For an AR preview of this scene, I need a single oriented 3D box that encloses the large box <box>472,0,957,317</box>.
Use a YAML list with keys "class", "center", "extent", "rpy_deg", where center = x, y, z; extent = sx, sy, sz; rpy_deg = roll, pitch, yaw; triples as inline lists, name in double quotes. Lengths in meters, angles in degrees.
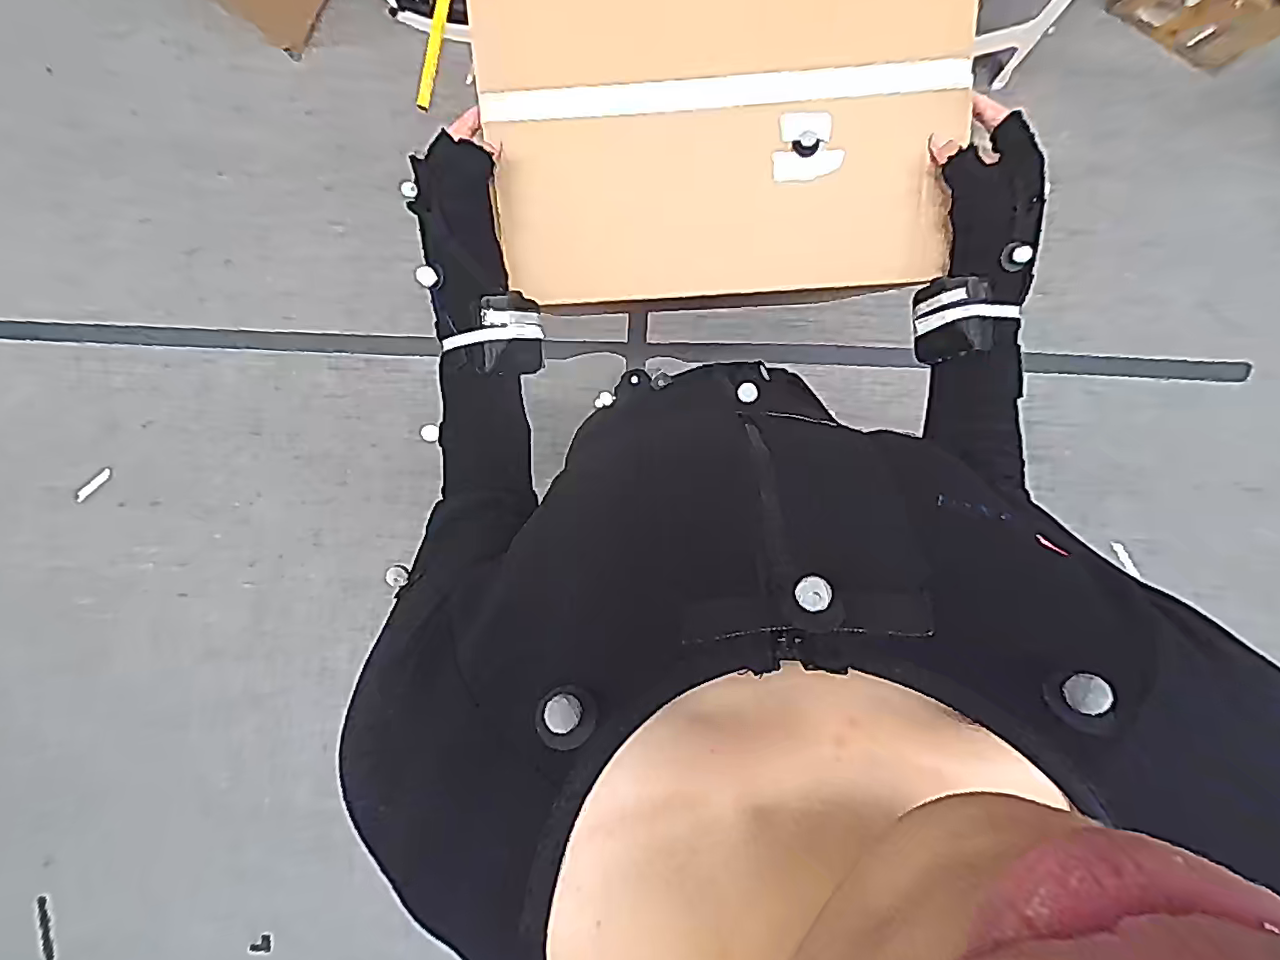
- class: "large box"
  center: [0.063, -0.364, 0.605]
  extent: [0.408, 0.320, 0.320]
  rpy_deg: [-3, 105, 1]
